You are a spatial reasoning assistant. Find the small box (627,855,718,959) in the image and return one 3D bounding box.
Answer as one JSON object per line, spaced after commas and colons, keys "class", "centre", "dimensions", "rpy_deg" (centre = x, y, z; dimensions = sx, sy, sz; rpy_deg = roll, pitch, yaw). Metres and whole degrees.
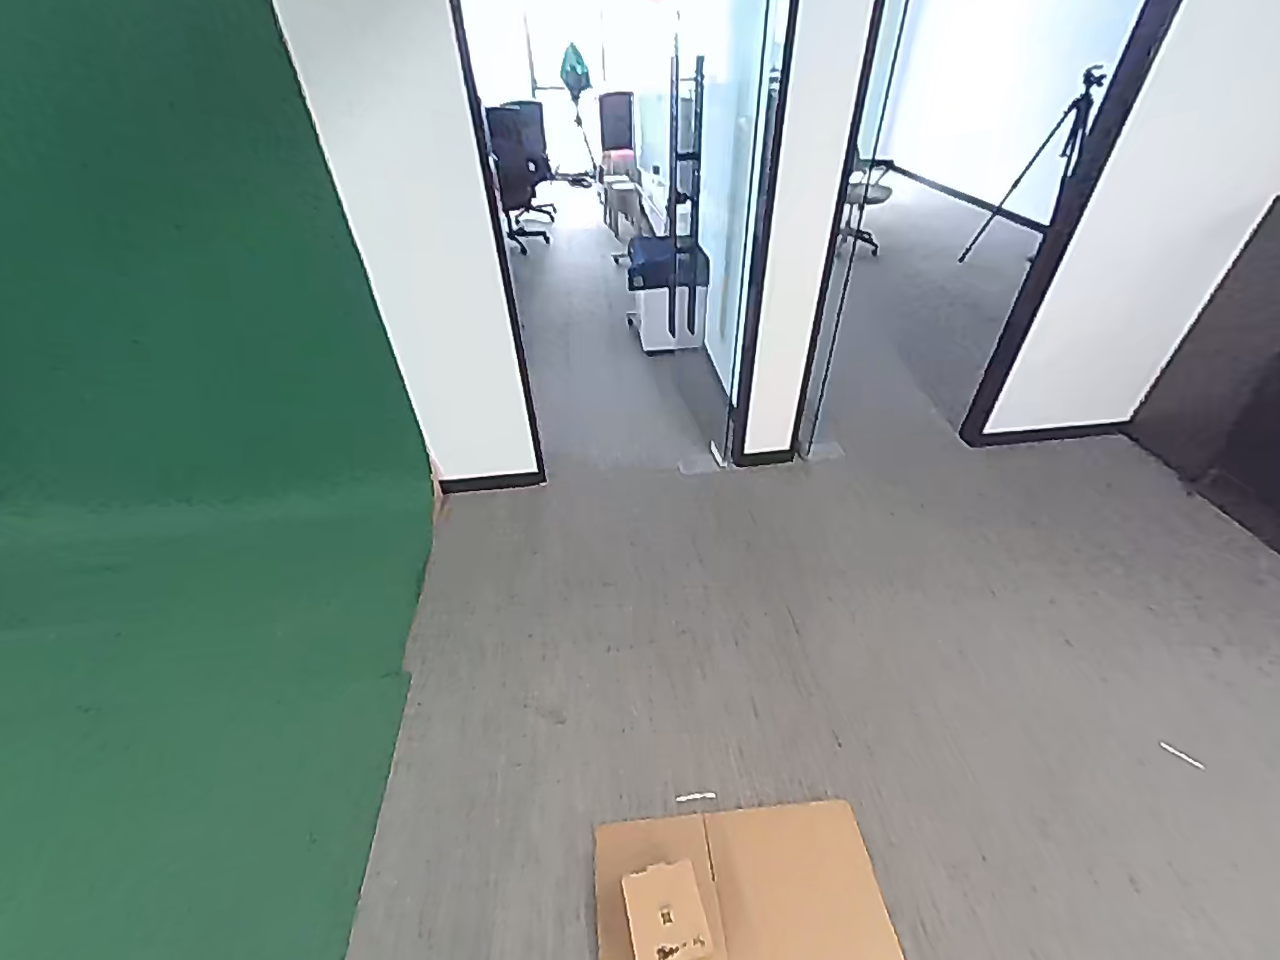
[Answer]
{"class": "small box", "centre": [0.066, 0.991, 1.218], "dimensions": [0.168, 0.176, 0.179], "rpy_deg": [-9, 40, -9]}
